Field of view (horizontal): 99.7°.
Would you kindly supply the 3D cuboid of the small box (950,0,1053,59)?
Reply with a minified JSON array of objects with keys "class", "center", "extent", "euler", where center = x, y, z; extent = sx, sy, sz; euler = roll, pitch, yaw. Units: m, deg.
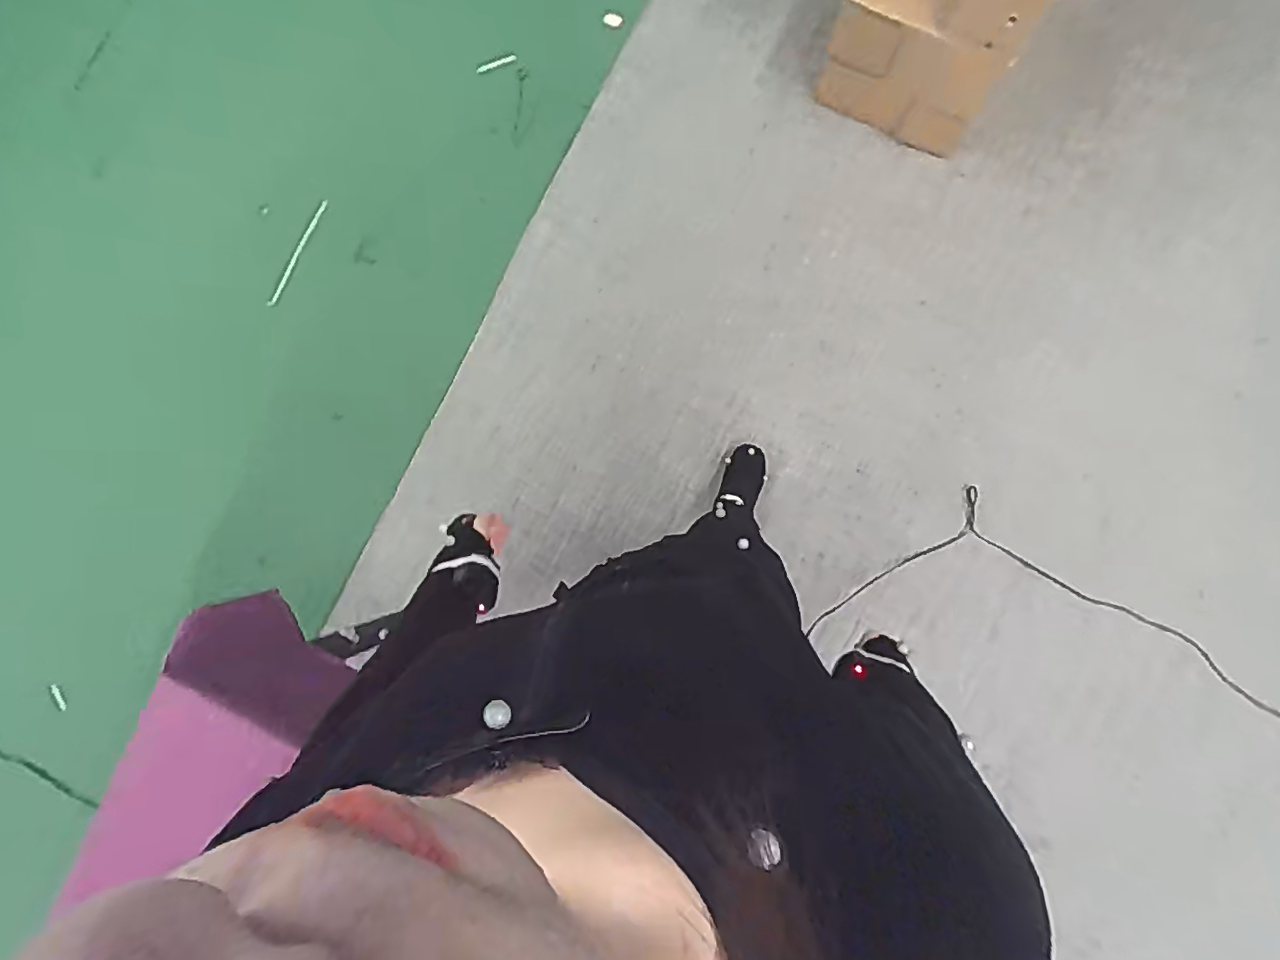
[{"class":"small box","center":[0.767,-1.017,1.094],"extent":[0.168,0.176,0.179],"euler":[34,89,6]}]

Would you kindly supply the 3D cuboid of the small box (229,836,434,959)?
[{"class":"small box","center":[-0.409,0.624,0.714],"extent":[0.179,0.176,0.168],"euler":[28,90,8]}]
